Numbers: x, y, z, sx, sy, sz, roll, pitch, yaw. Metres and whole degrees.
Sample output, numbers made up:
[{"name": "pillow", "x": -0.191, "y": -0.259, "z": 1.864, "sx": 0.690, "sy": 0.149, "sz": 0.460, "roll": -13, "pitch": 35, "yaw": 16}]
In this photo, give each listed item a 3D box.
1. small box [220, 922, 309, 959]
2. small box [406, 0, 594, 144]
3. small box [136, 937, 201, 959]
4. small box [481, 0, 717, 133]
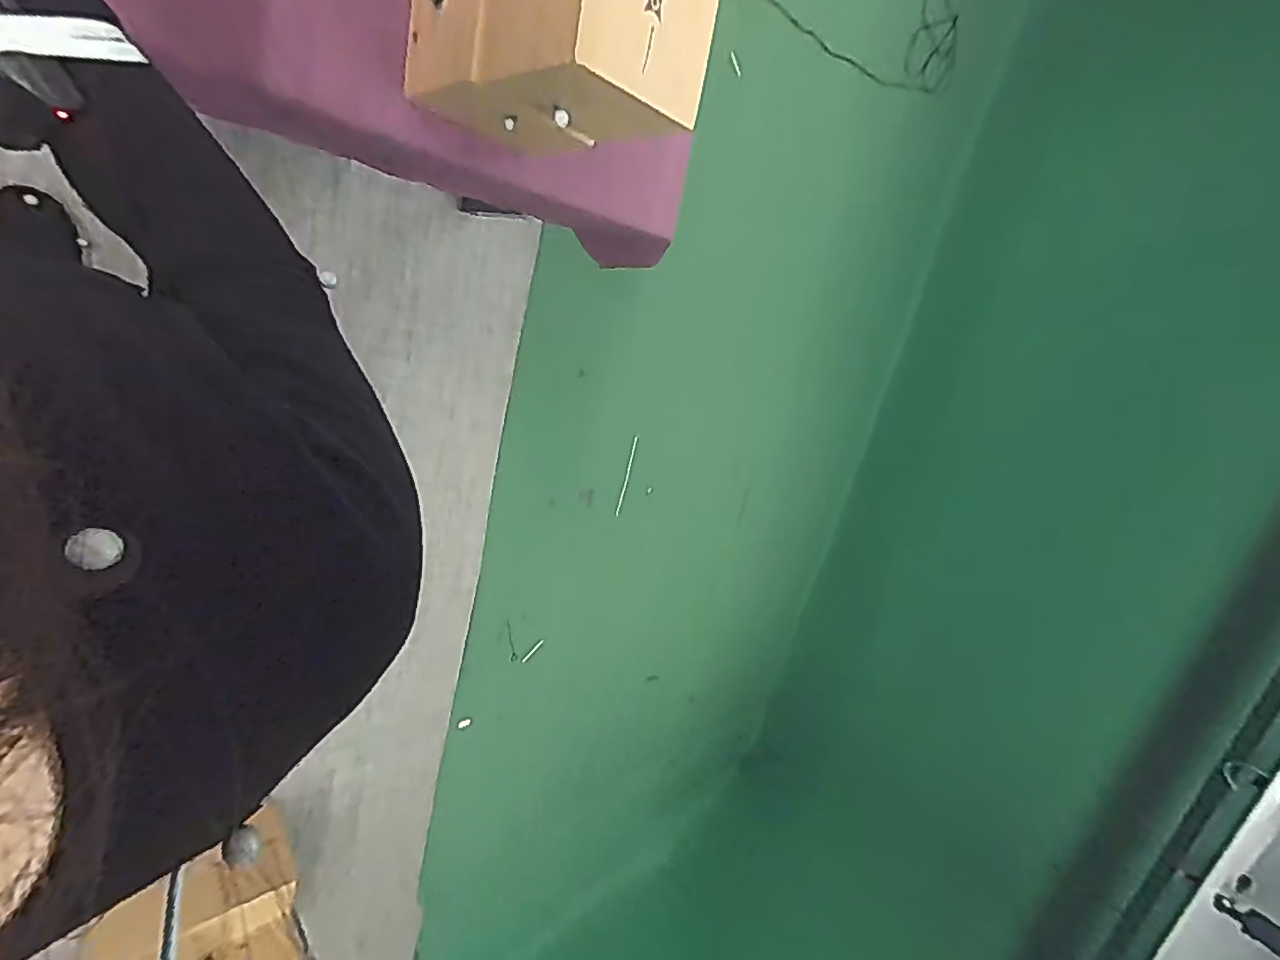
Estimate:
[{"name": "small box", "x": -0.980, "y": 1.302, "z": 1.399, "sx": 0.168, "sy": 0.176, "sz": 0.179, "roll": 3, "pitch": 110, "yaw": -48}, {"name": "small box", "x": -0.157, "y": -0.522, "z": 0.646, "sx": 0.179, "sy": 0.176, "sz": 0.168, "roll": -4, "pitch": 113, "yaw": -47}, {"name": "small box", "x": -1.093, "y": 1.195, "z": 1.208, "sx": 0.168, "sy": 0.176, "sz": 0.179, "roll": 6, "pitch": 108, "yaw": -49}, {"name": "small box", "x": -0.042, "y": -0.474, "z": 0.539, "sx": 0.168, "sy": 0.176, "sz": 0.179, "roll": -7, "pitch": 116, "yaw": -45}]
